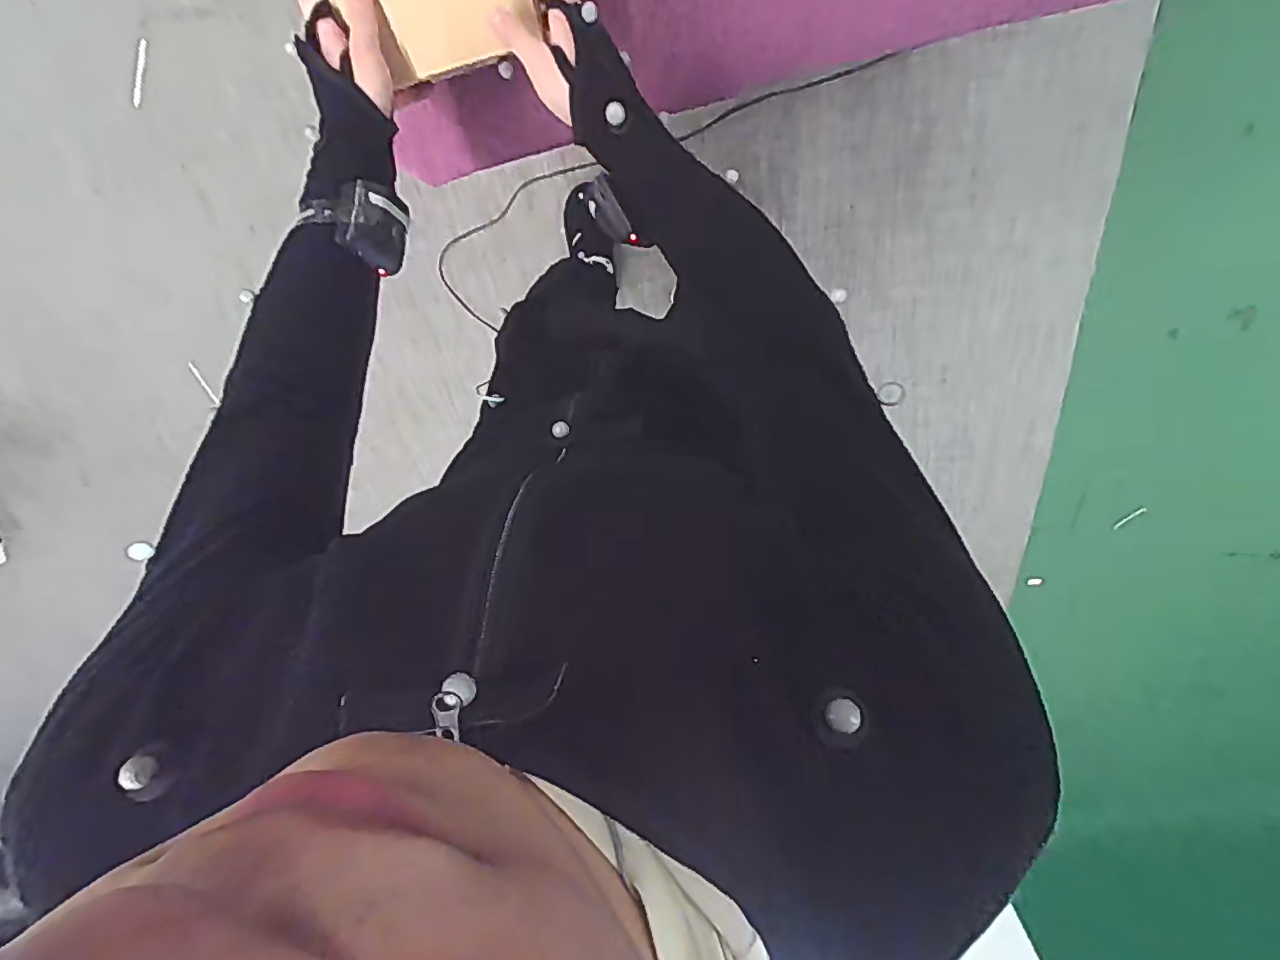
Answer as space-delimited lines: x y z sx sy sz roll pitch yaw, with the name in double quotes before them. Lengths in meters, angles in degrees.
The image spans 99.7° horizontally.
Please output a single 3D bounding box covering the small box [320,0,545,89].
"small box" -0.195 -0.486 0.499 0.179 0.176 0.168 -12 127 7
